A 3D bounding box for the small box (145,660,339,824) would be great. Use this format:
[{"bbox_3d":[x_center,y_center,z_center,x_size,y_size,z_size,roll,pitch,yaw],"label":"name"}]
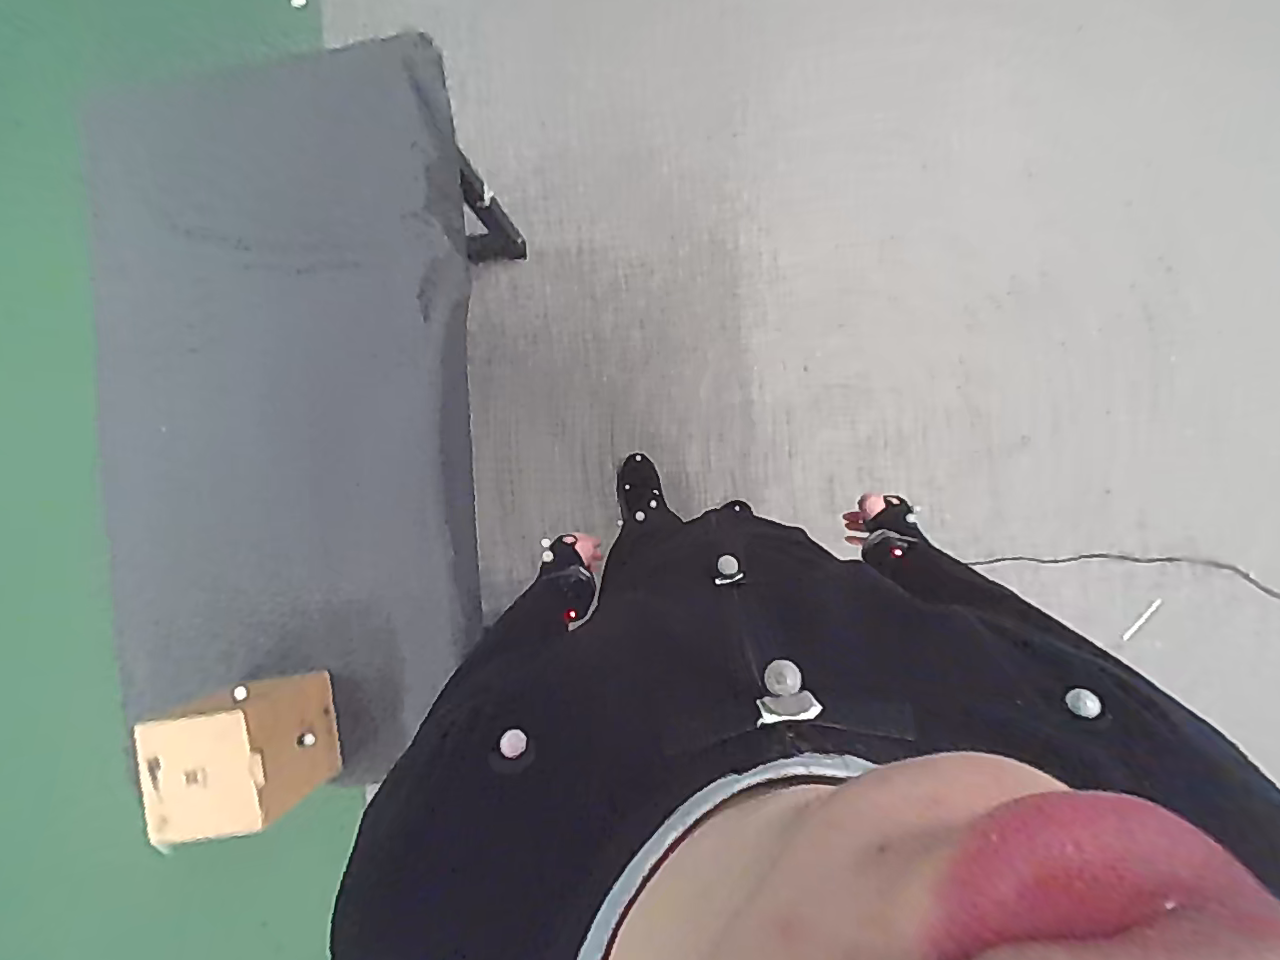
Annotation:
[{"bbox_3d":[-0.592,0.390,0.831,0.179,0.176,0.168,-9,89,6],"label":"small box"}]
